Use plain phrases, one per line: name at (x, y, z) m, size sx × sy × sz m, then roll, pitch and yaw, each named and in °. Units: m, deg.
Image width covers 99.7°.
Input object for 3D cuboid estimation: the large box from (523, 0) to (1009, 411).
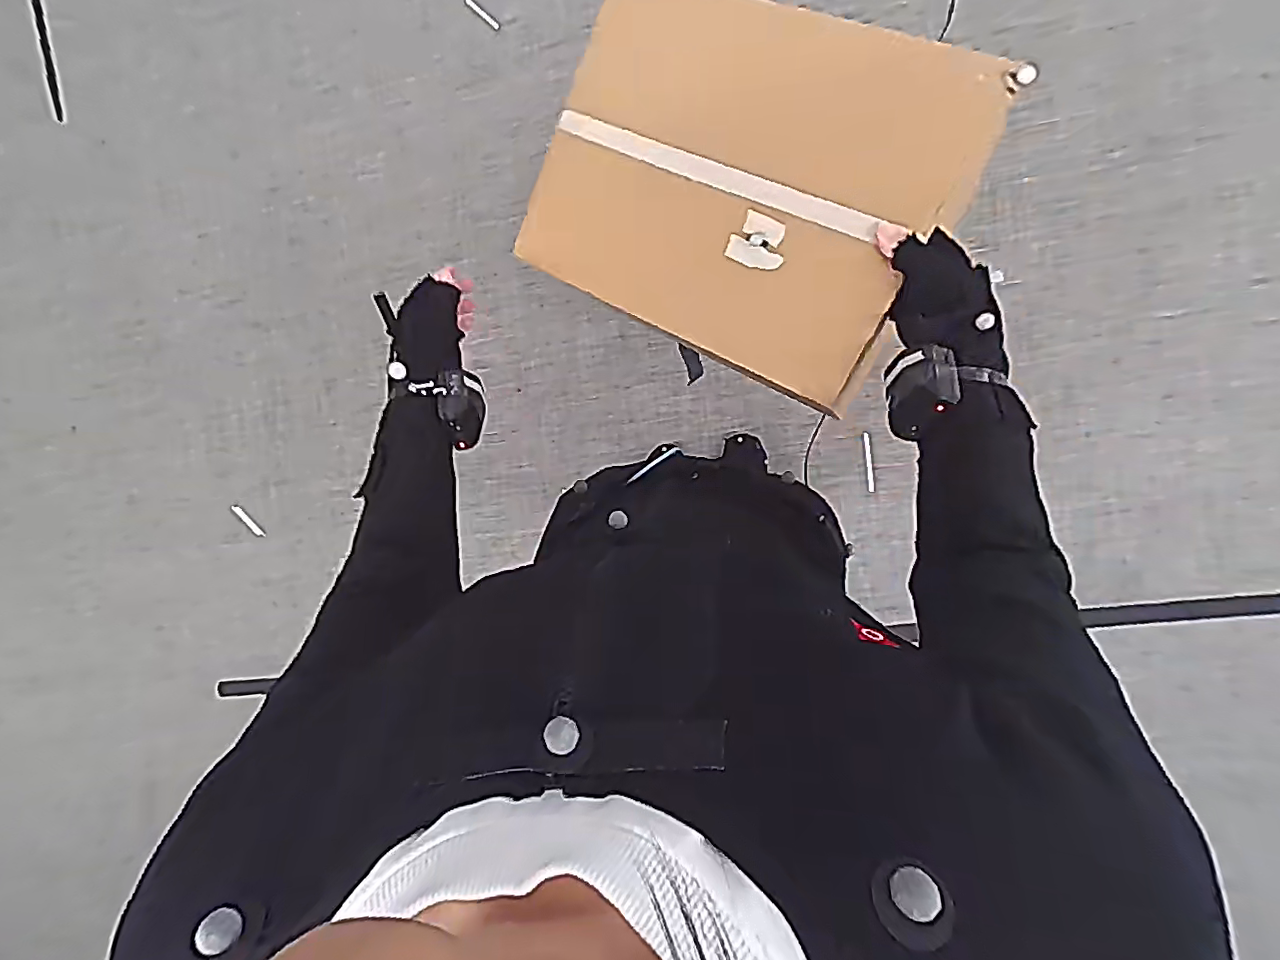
large box at (0.137, -0.310, 0.685) m, size 0.408 × 0.320 × 0.320 m, roll 28°, pitch 105°, yaw 16°
